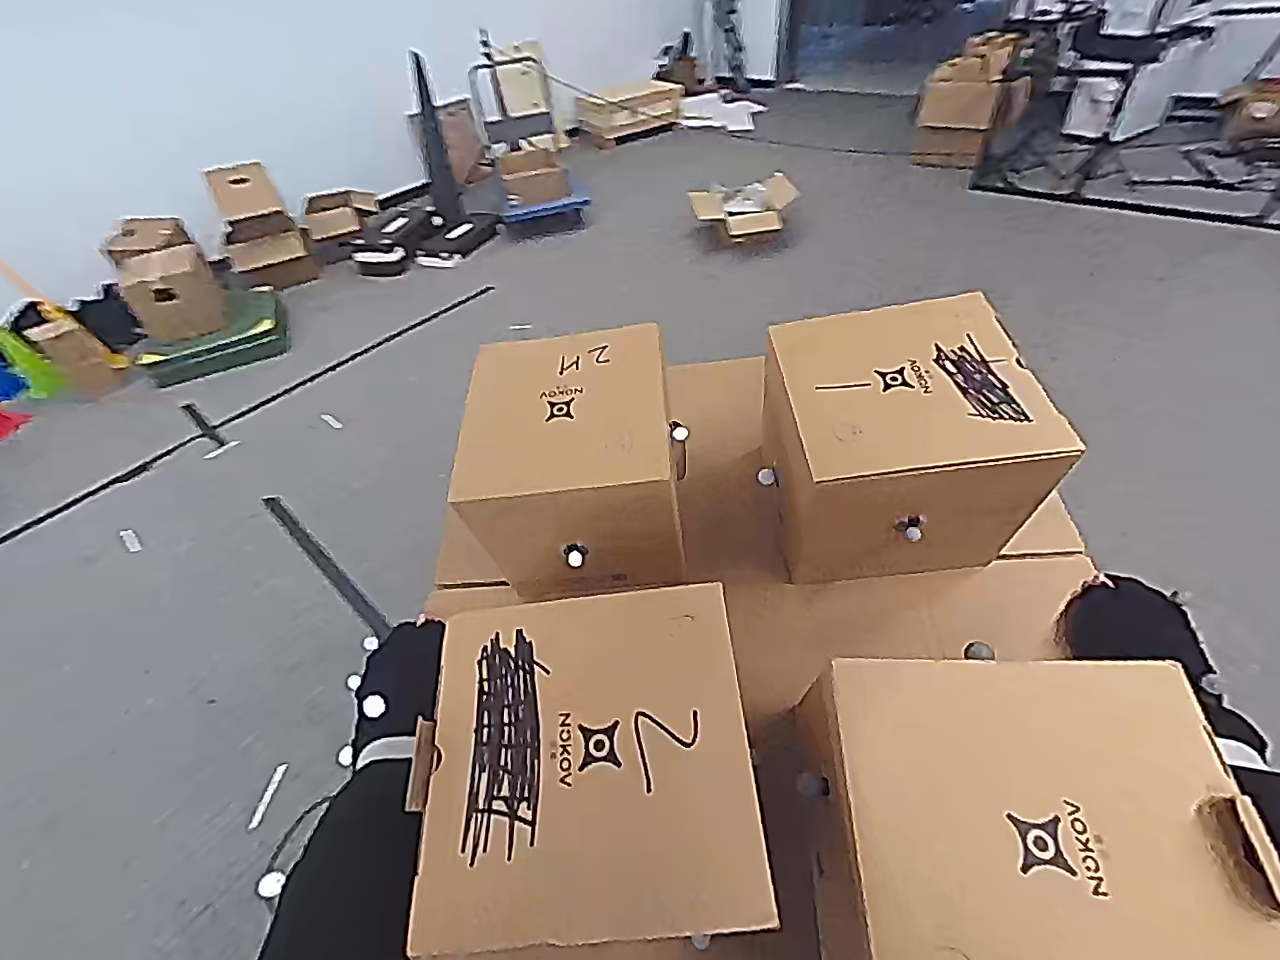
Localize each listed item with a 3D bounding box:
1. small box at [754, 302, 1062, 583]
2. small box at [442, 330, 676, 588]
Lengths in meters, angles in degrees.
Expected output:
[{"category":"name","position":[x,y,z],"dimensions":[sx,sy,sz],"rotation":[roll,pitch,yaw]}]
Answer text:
[{"category":"small box","position":[0.200,-0.024,0.470],"dimensions":[0.179,0.176,0.168],"rotation":[-8,54,6]},{"category":"small box","position":[-0.058,-0.009,0.504],"dimensions":[0.168,0.176,0.179],"rotation":[-6,54,5]}]
